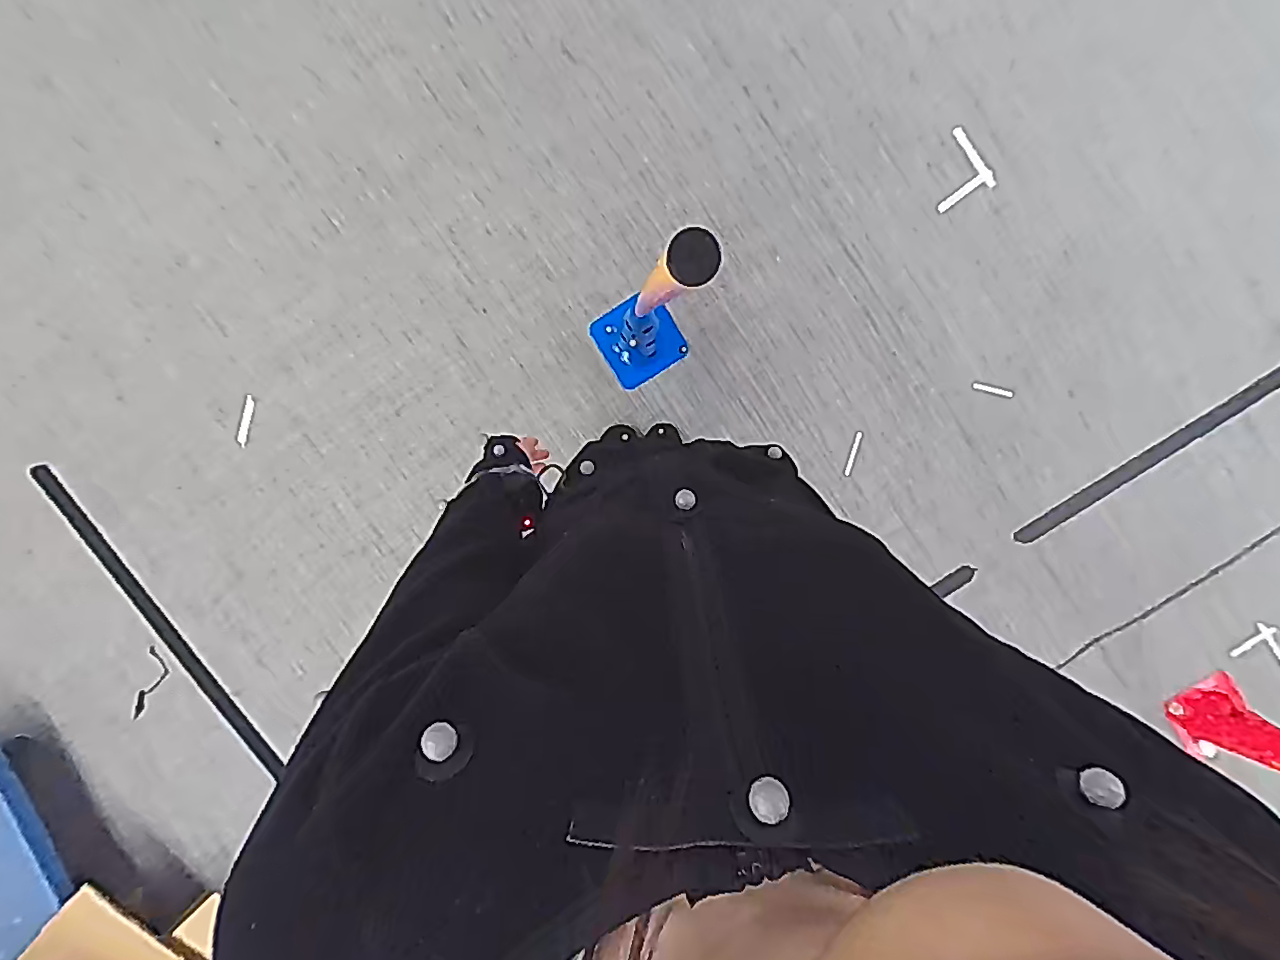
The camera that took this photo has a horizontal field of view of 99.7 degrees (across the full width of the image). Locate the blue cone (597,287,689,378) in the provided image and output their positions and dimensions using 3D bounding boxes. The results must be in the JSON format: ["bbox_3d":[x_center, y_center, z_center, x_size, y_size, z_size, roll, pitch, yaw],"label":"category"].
[{"bbox_3d":[0.008,-0.358,1.219,0.192,0.380,0.193,-31,95,2],"label":"blue cone"}]
